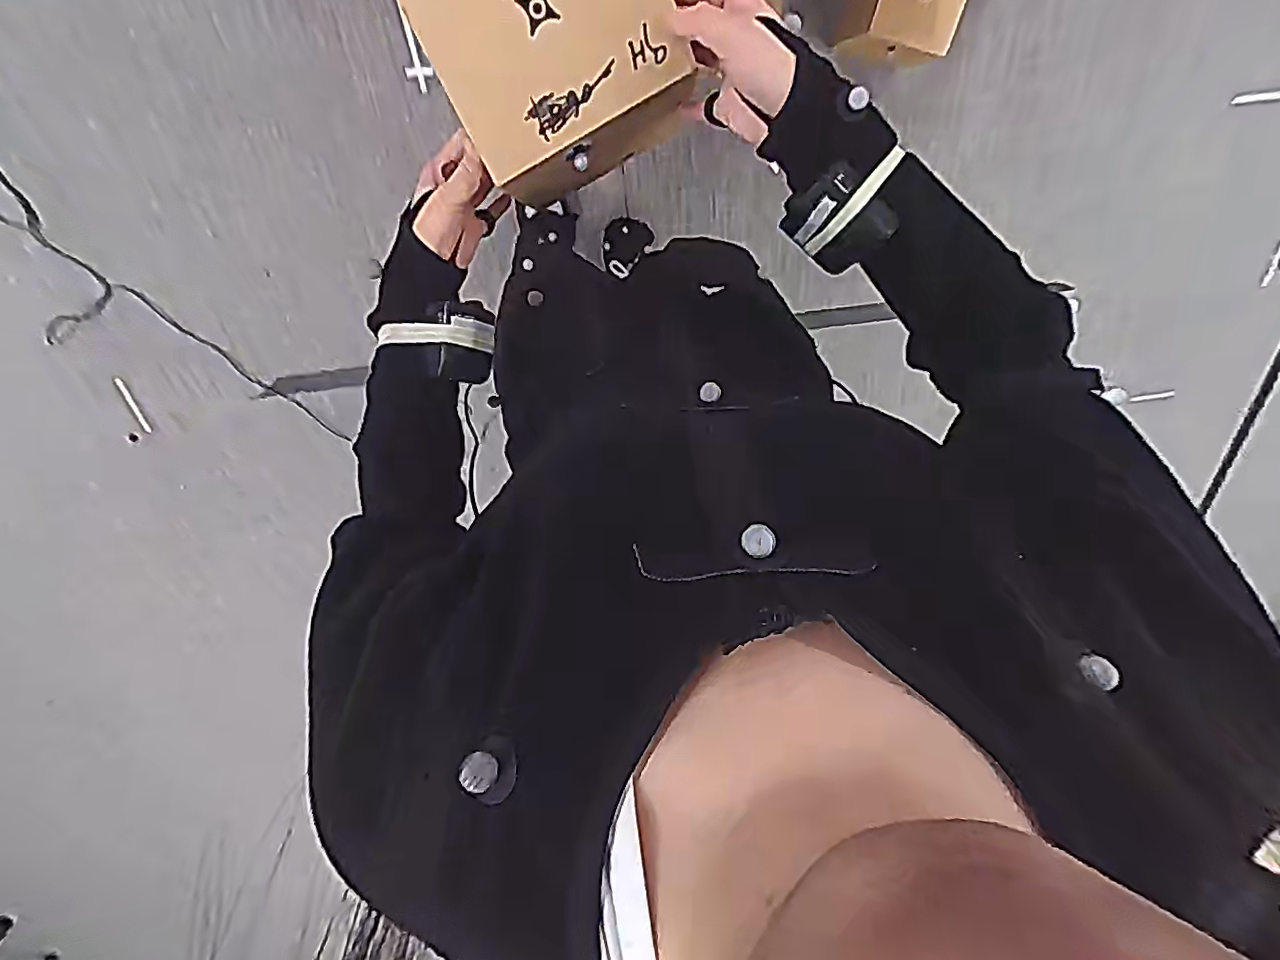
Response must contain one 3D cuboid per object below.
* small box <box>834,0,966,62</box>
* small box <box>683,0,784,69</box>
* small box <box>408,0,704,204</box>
[{"bbox_3d":[0.519,-0.951,1.065,0.179,0.176,0.168,6,119,-12],"label":"small box"},{"bbox_3d":[0.167,-0.909,1.032,0.168,0.176,0.179,-10,122,-3],"label":"small box"},{"bbox_3d":[-0.067,-0.348,0.427,0.168,0.176,0.179,-25,109,9],"label":"small box"}]
